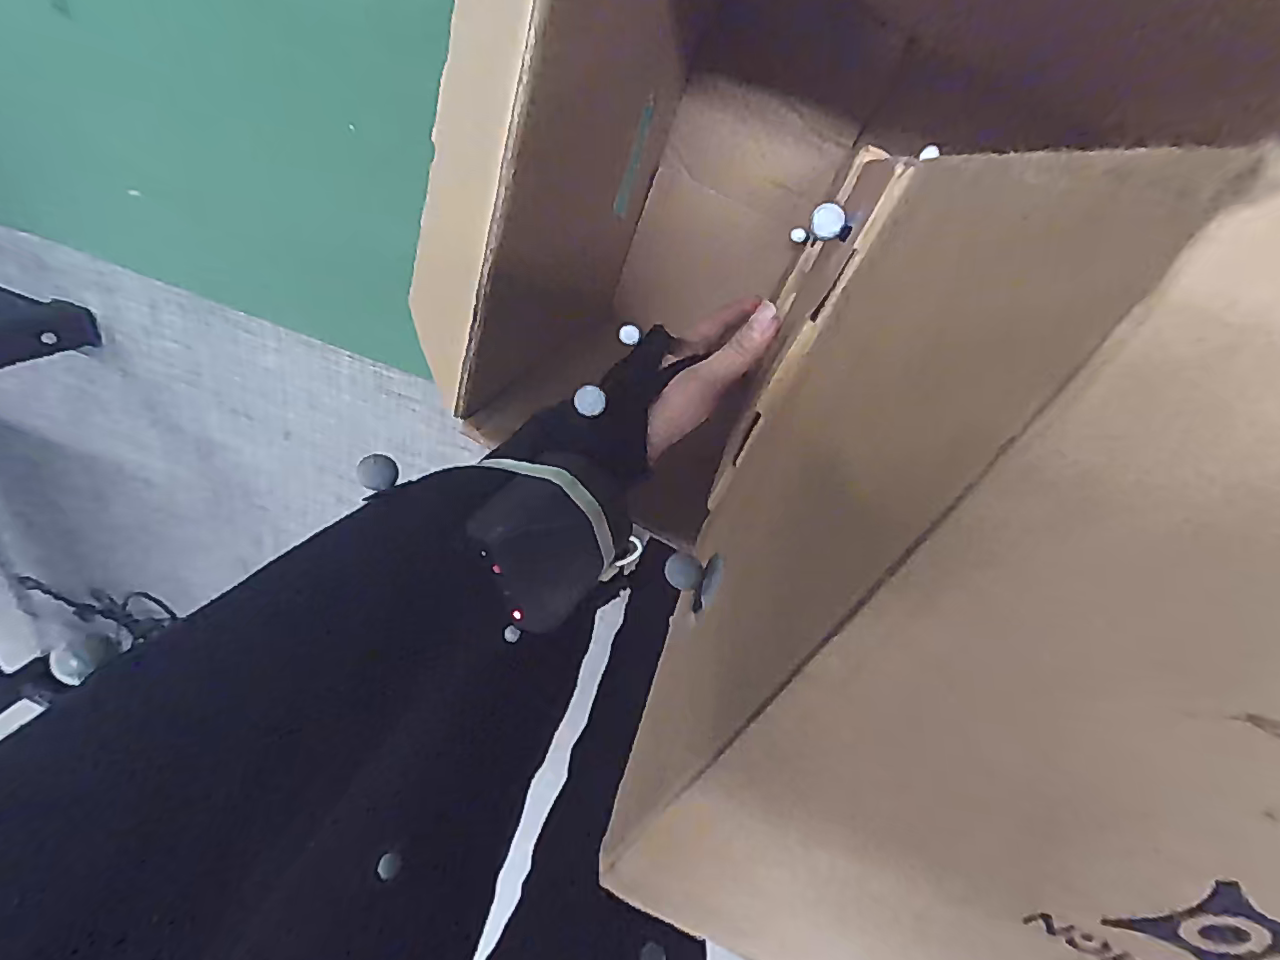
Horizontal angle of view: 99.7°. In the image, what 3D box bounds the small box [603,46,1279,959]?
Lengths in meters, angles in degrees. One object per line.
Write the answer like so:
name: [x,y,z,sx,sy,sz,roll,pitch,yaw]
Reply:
small box: [0.113,0.025,0.157,0.168,0.176,0.179,25,123,2]
